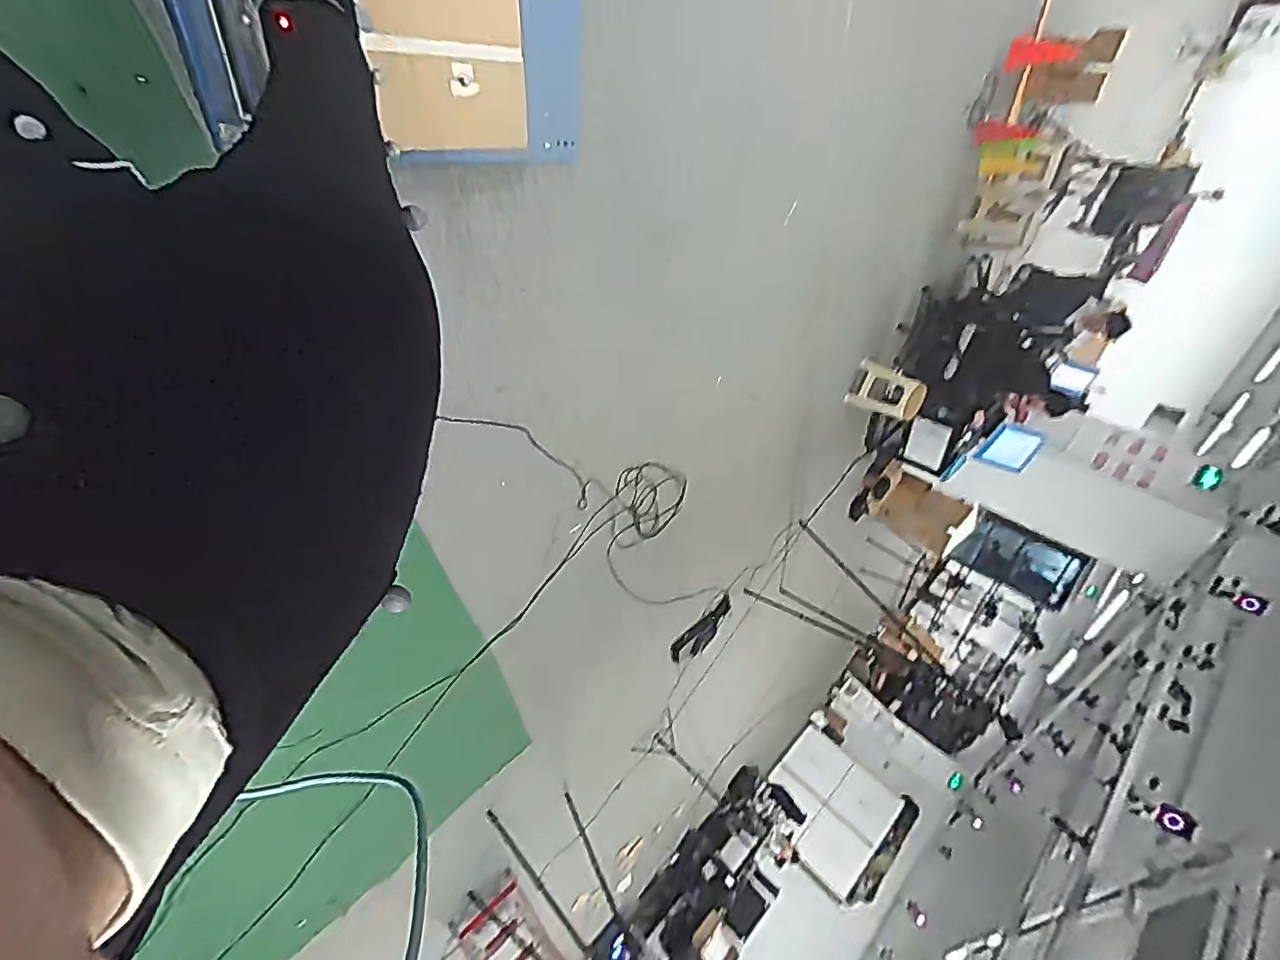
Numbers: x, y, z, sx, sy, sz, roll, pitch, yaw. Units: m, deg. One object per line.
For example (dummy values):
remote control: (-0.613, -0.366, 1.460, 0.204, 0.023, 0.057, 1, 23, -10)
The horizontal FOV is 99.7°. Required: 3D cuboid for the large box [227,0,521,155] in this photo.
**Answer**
large box: (-0.493, -0.818, 1.025, 0.408, 0.320, 0.320, -28, 136, -36)
